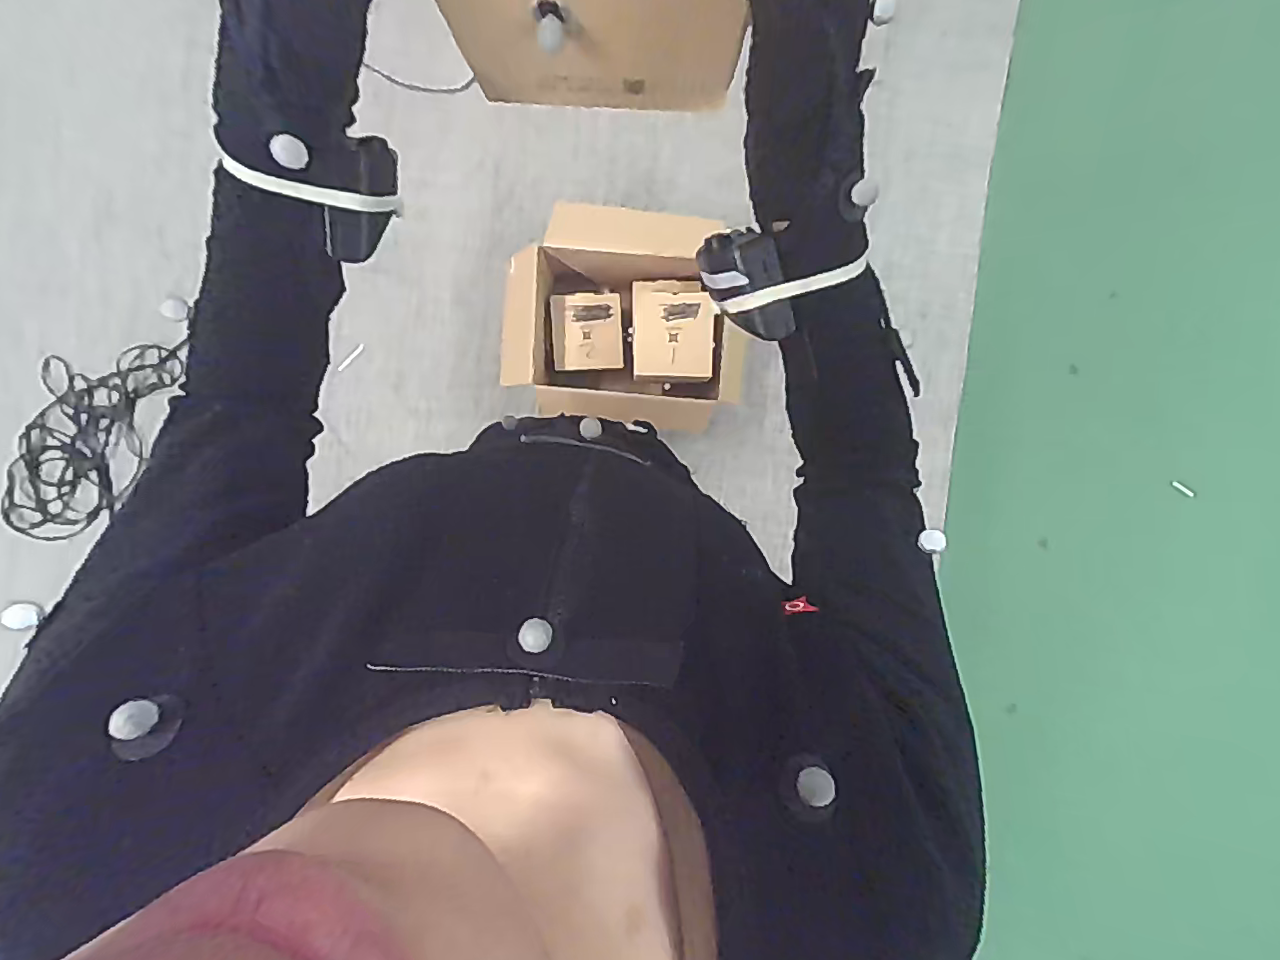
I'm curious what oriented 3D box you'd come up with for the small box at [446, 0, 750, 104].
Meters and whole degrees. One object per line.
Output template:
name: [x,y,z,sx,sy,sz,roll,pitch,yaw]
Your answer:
small box: [-0.019,-0.329,0.278,0.168,0.176,0.179,3,98,0]
